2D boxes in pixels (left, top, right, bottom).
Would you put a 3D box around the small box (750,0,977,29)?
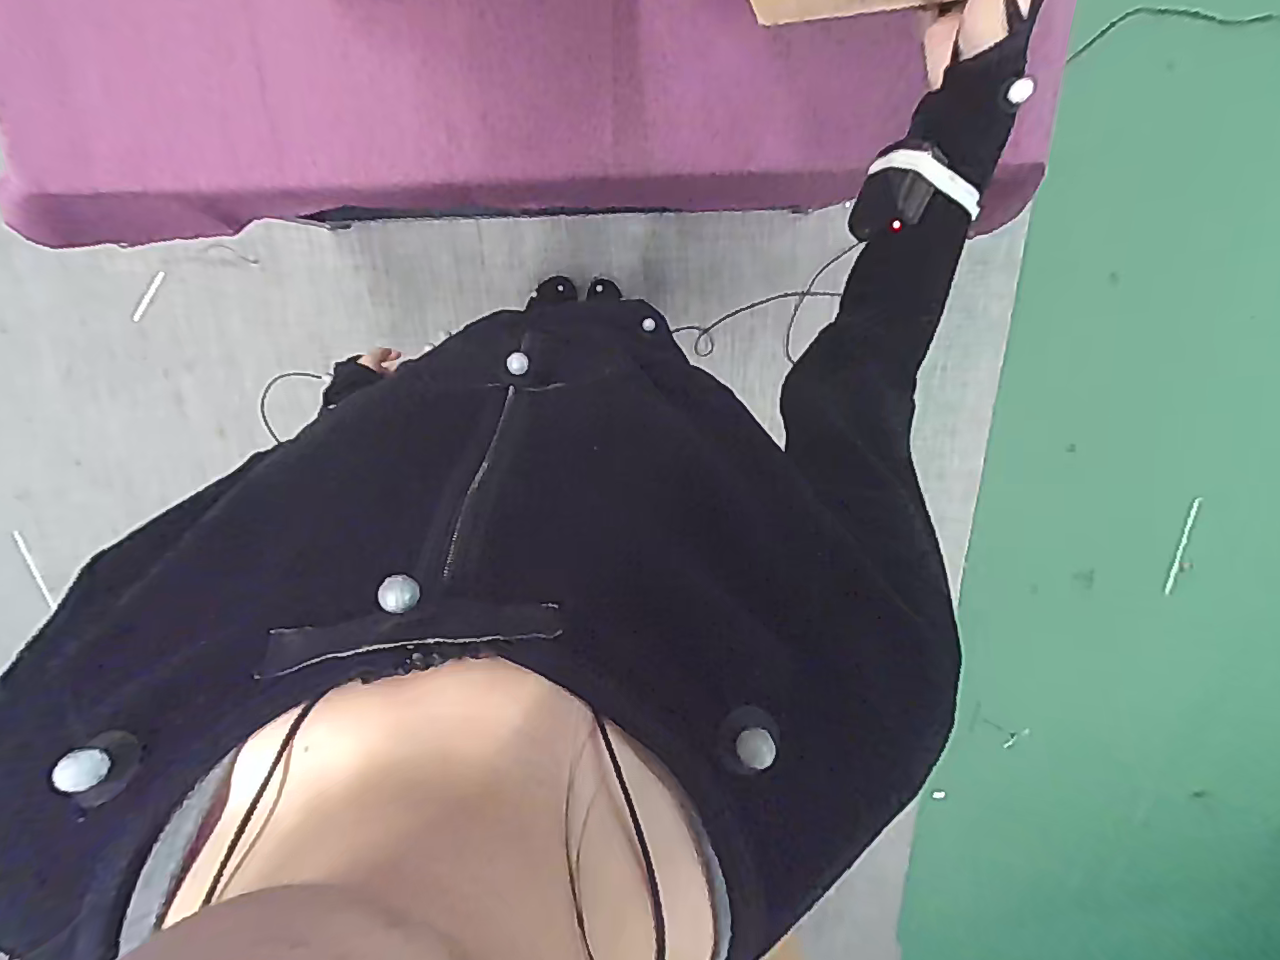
[{"bbox_3d":[0.156,-0.442,0.343,0.179,0.168,0.176,-10,73,-4],"label":"small box"}]
